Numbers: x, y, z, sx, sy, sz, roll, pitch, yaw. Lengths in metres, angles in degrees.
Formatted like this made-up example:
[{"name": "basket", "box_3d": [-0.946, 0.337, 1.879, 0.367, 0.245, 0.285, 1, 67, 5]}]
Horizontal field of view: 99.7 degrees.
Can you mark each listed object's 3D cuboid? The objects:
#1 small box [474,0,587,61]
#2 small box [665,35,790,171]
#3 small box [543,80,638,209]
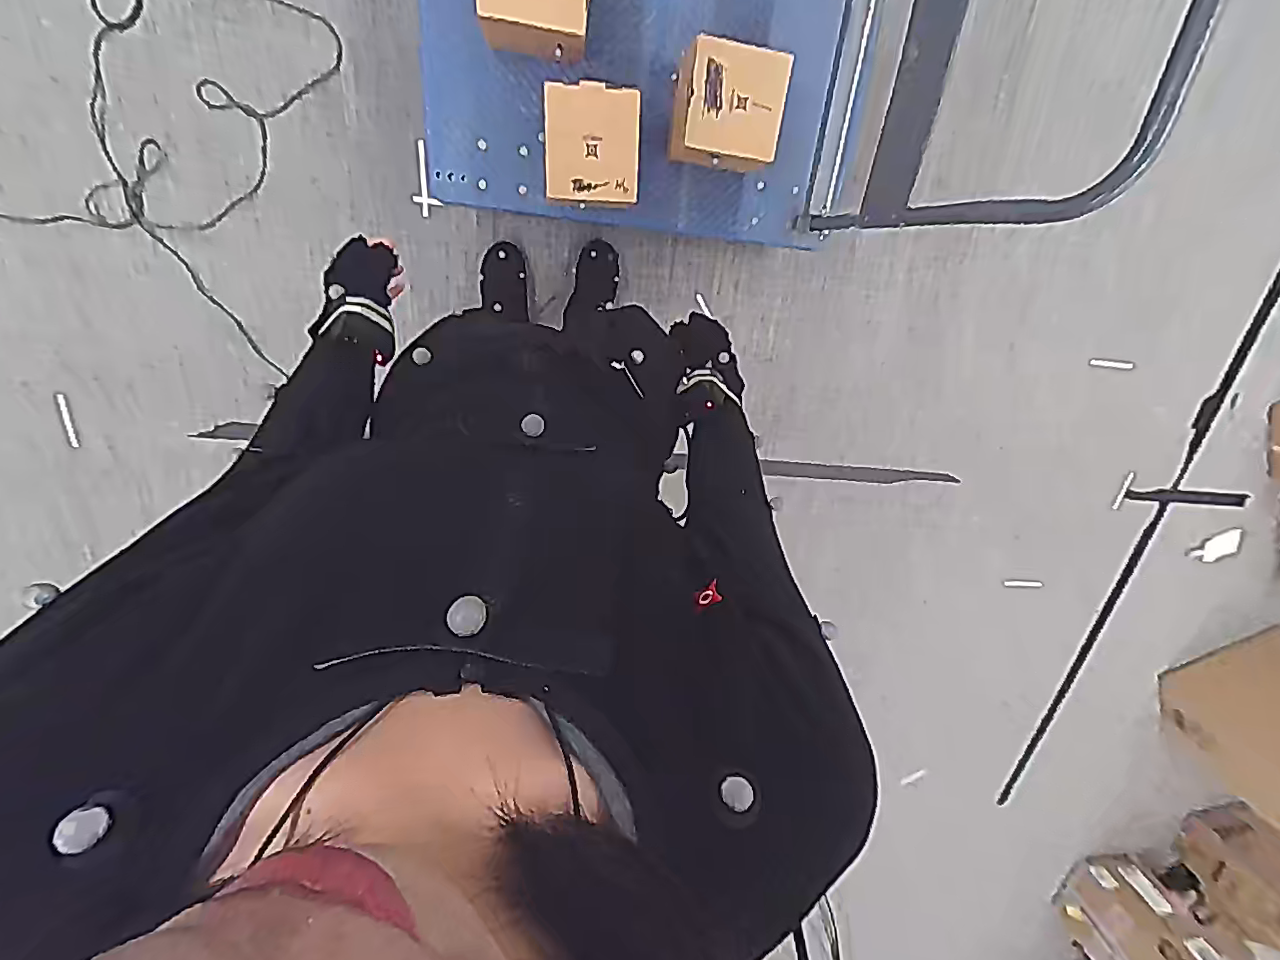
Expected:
[{"name": "small box", "box_3d": [-0.179, -0.840, 0.913, 0.179, 0.176, 0.168, 3, 112, -10]}, {"name": "small box", "box_3d": [0.154, -0.699, 1.026, 0.179, 0.176, 0.168, 4, 113, -11]}, {"name": "small box", "box_3d": [-0.100, -0.622, 1.022, 0.168, 0.176, 0.179, -1, 113, -8]}]
